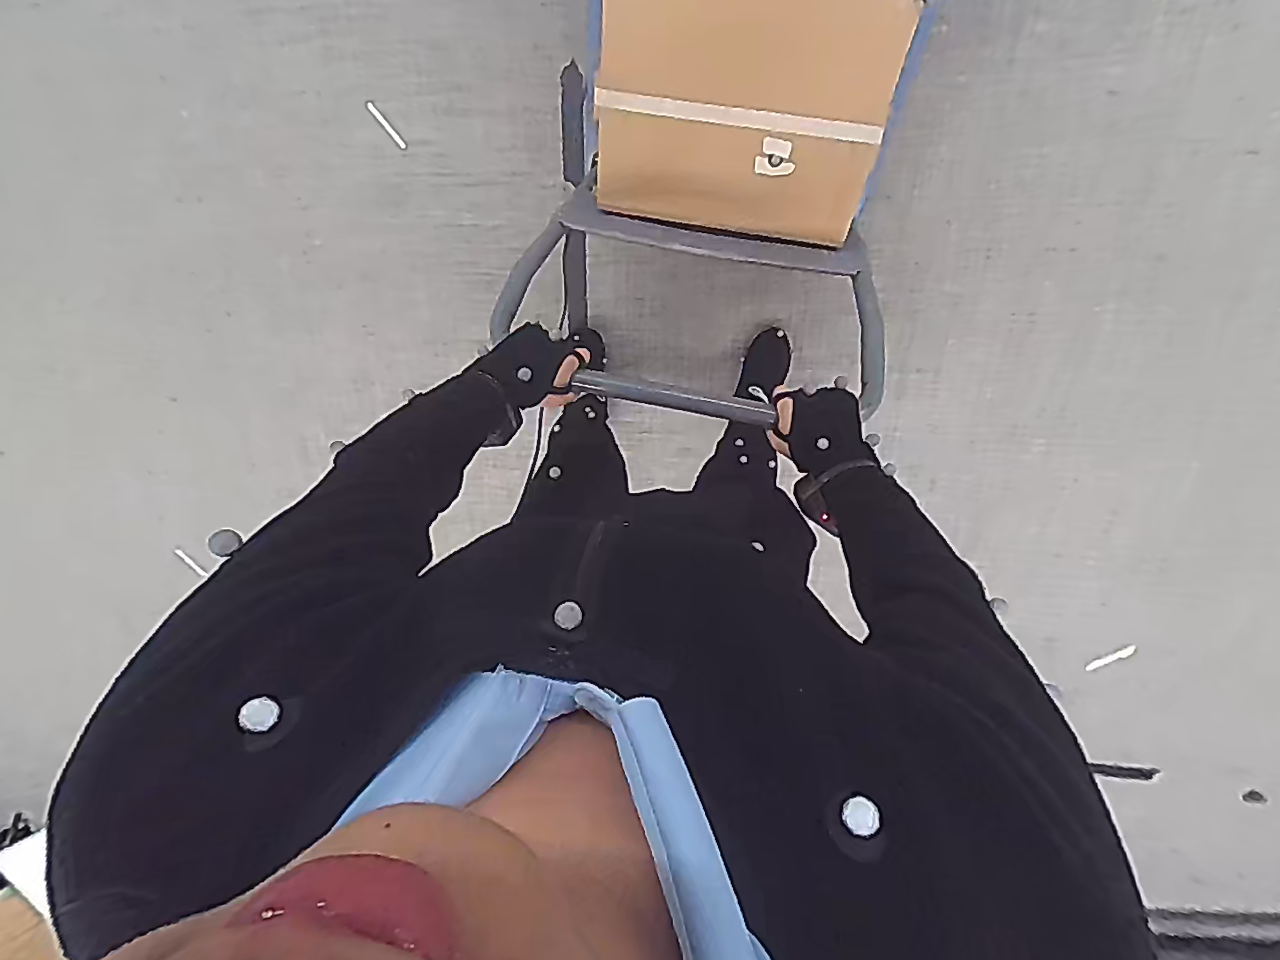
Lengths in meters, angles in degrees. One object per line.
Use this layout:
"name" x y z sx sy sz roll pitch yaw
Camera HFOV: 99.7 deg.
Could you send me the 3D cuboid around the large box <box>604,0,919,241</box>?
"large box" 0.167 -0.626 0.894 0.408 0.320 0.320 10 133 4
